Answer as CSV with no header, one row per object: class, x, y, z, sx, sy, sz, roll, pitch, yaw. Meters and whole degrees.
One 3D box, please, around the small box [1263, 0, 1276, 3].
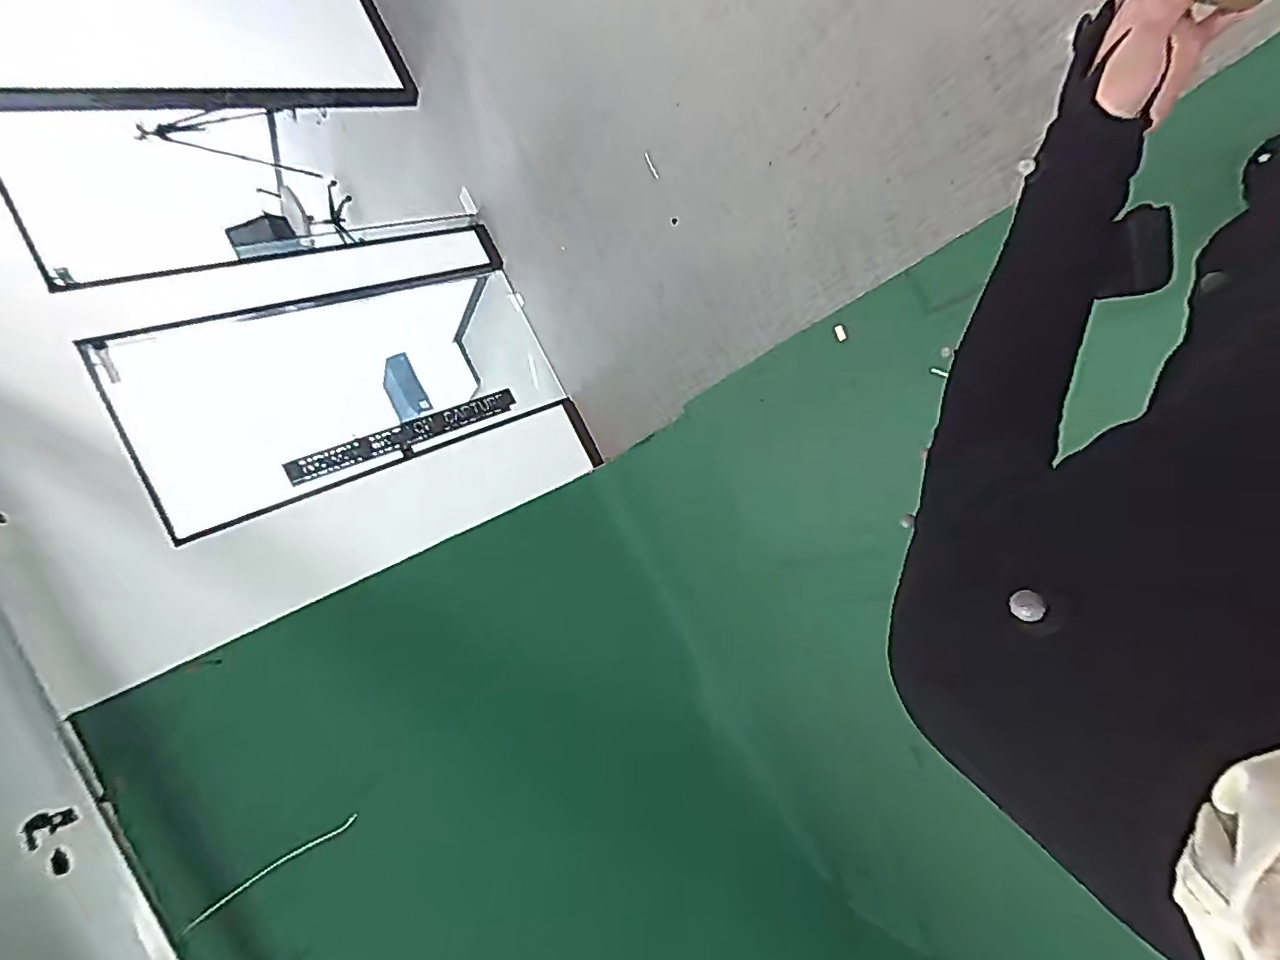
small box,0.392,-0.390,0.271,0.168,0.176,0.179,-8,109,57
